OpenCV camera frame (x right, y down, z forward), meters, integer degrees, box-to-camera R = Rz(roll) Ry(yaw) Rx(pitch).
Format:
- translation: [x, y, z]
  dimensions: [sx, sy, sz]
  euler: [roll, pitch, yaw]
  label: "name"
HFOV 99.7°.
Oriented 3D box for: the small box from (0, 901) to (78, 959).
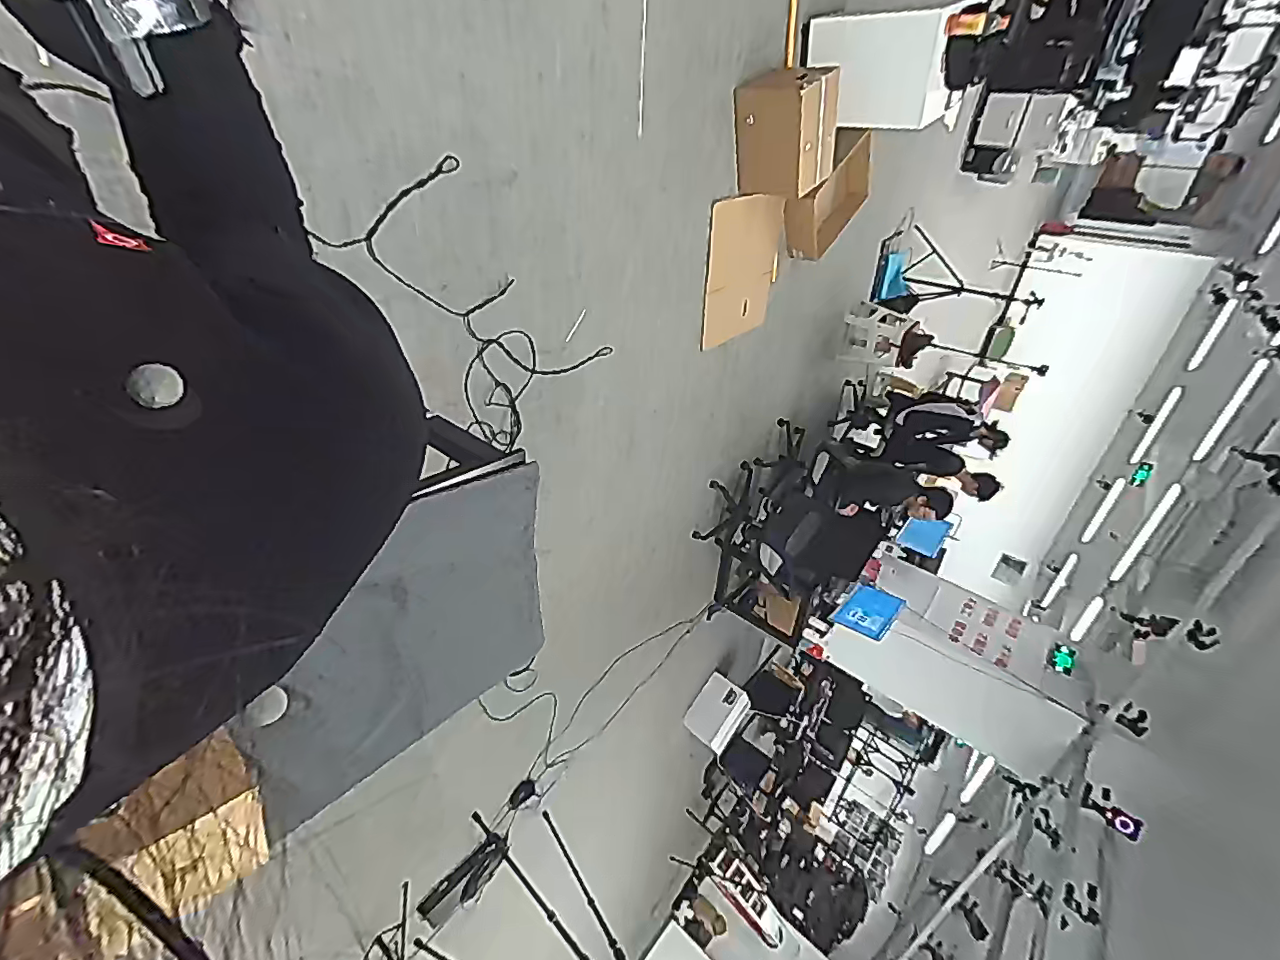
- translation: [-0.639, 0.559, 0.504]
  dimensions: [0.179, 0.176, 0.168]
  euler: [-17, 125, -48]
  label: "small box"
